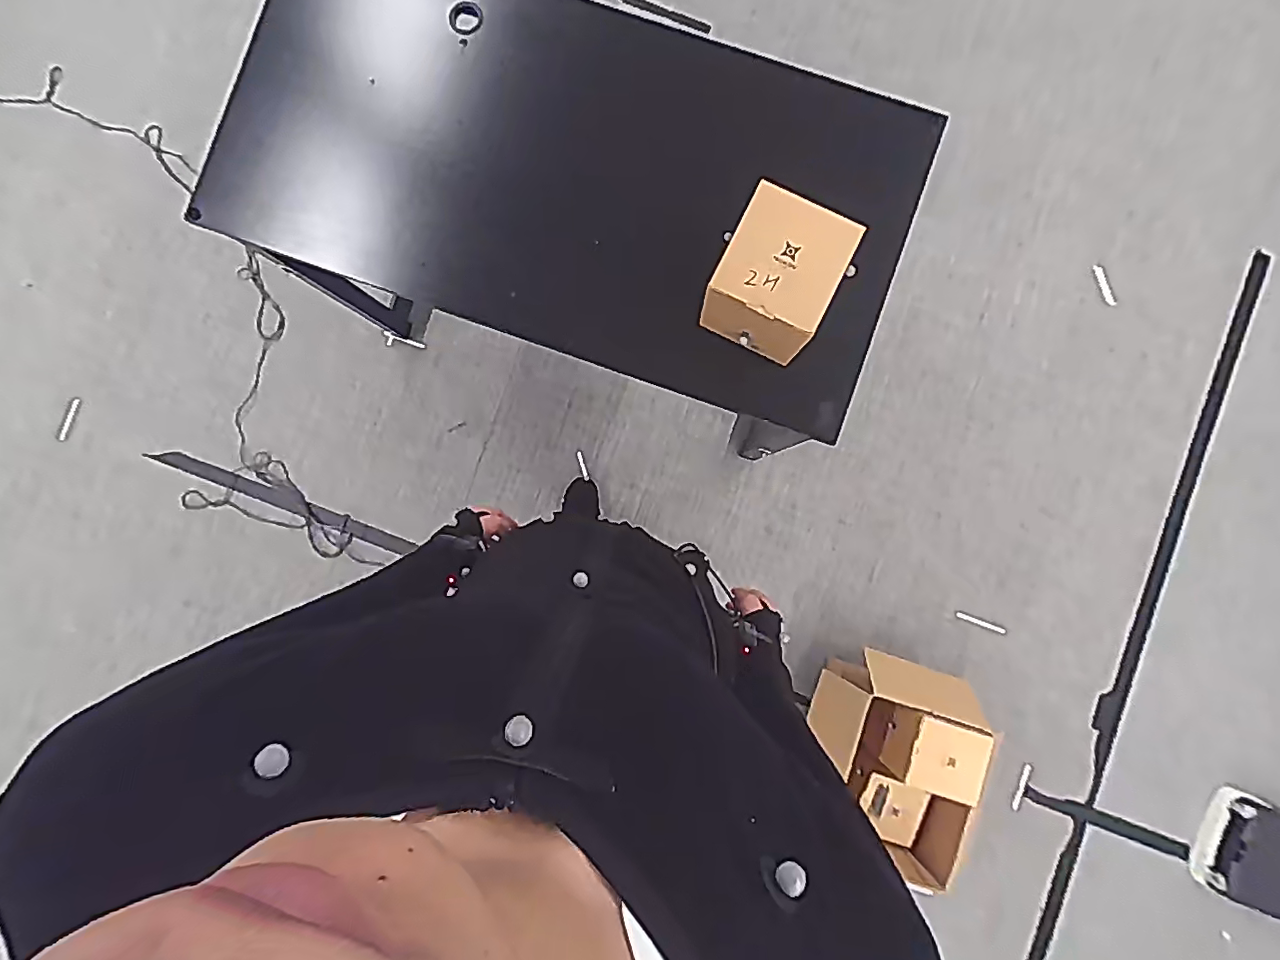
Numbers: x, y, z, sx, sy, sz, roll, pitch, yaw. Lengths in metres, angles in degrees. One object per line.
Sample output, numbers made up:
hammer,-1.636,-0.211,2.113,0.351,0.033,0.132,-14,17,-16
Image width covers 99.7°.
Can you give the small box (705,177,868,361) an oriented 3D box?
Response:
small box,0.210,-0.311,0.834,0.168,0.176,0.179,27,89,3
